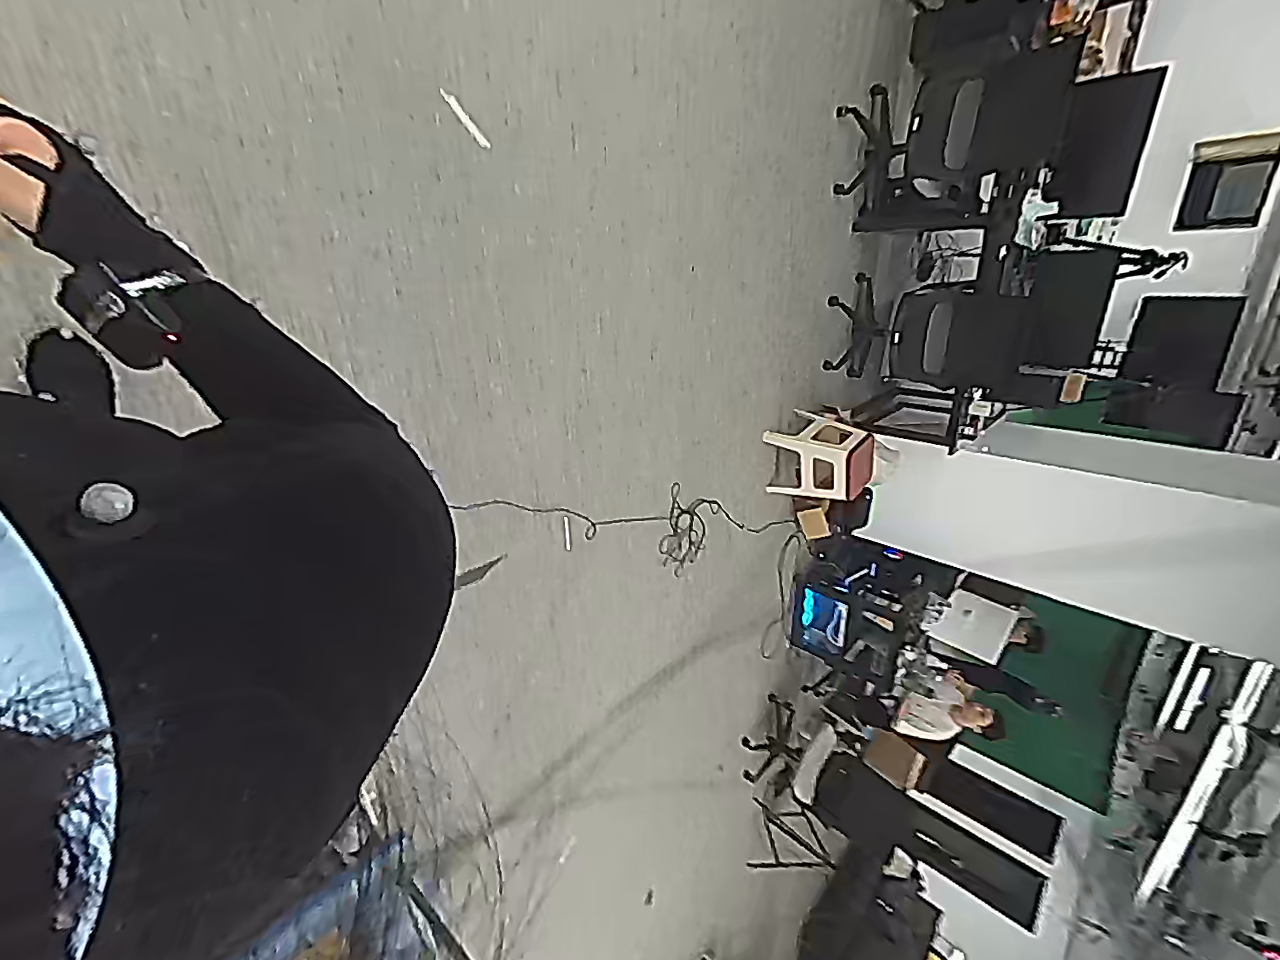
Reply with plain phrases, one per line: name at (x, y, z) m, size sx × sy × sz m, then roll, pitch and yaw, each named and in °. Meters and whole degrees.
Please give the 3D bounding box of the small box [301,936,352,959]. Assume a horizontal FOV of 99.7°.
small box at (-0.841, 1.380, 1.436) m, size 0.168 × 0.176 × 0.179 m, roll -28°, pitch 123°, yaw -39°
